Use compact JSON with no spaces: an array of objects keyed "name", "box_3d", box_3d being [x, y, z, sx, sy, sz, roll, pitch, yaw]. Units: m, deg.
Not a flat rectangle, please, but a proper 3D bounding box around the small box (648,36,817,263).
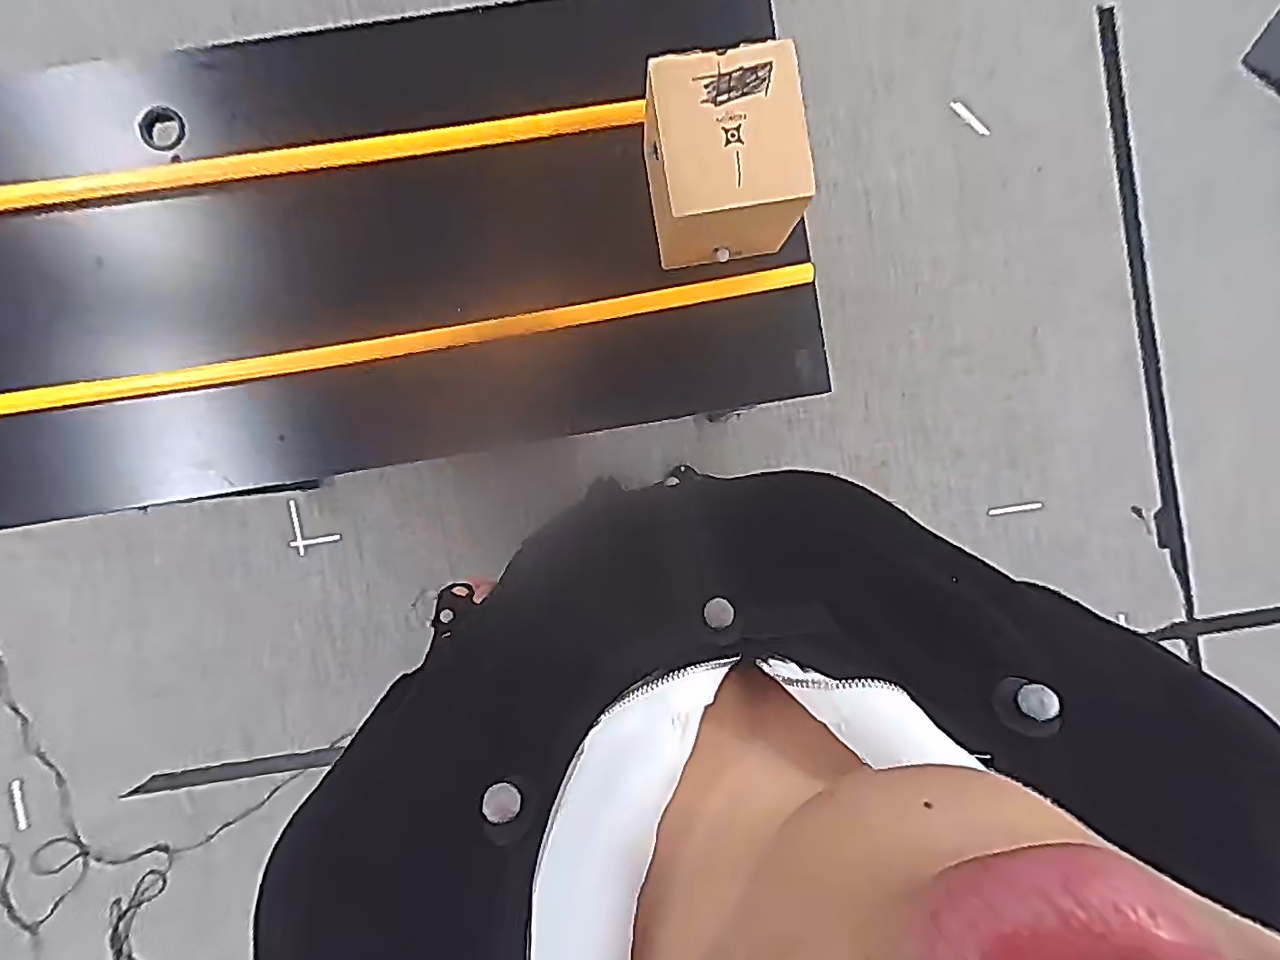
[{"name":"small box","box_3d":[0.104,-0.398,0.678,0.168,0.176,0.179,-9,93,-1]}]
